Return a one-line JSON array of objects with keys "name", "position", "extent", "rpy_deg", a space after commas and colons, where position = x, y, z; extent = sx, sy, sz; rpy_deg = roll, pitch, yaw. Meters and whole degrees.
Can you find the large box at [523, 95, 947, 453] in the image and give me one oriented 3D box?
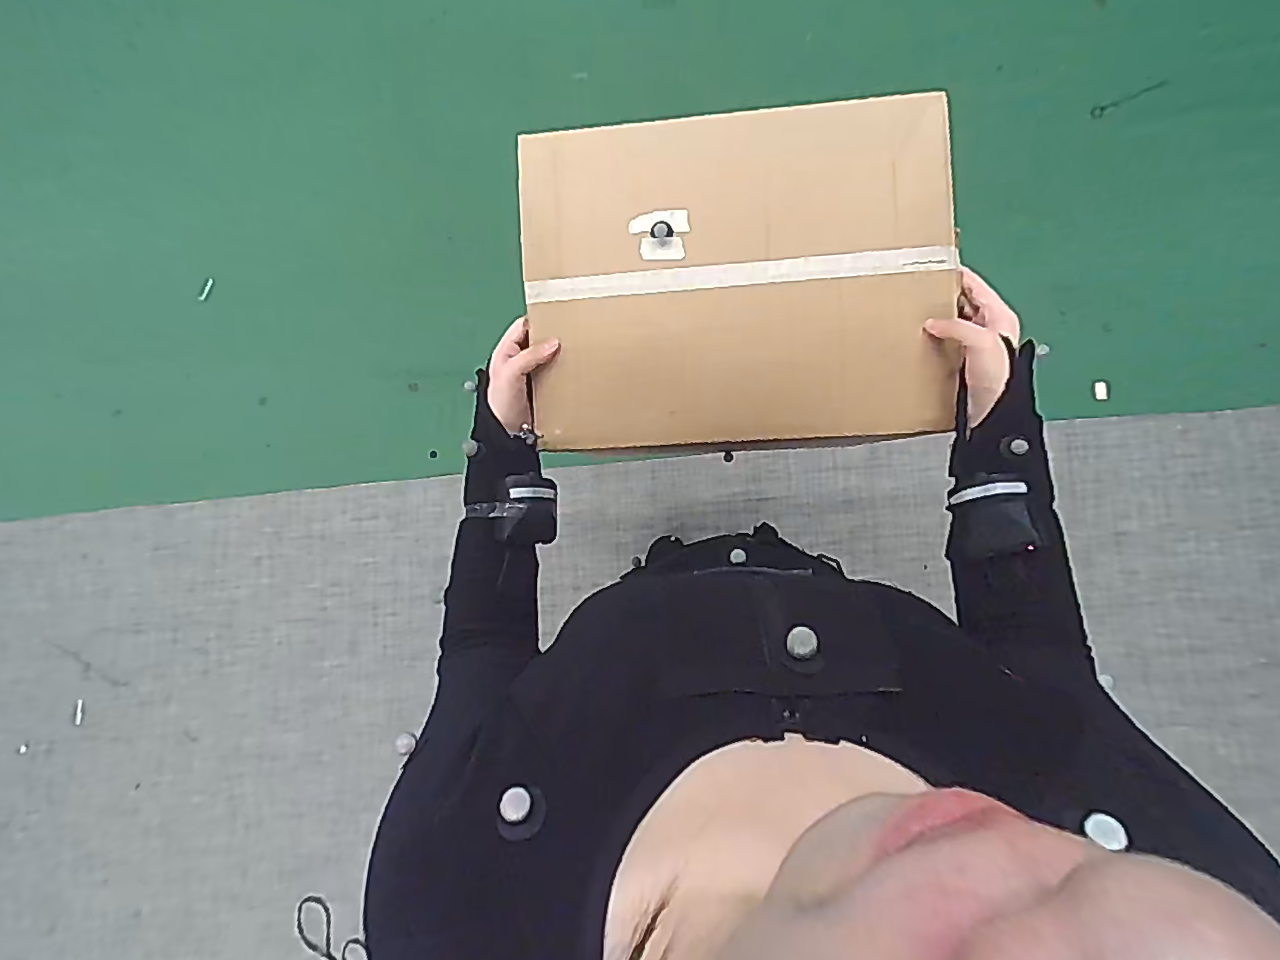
[{"name": "large box", "position": [0.105, -0.200, 0.677], "extent": [0.408, 0.320, 0.320], "rpy_deg": [-3, 91, 7]}]
